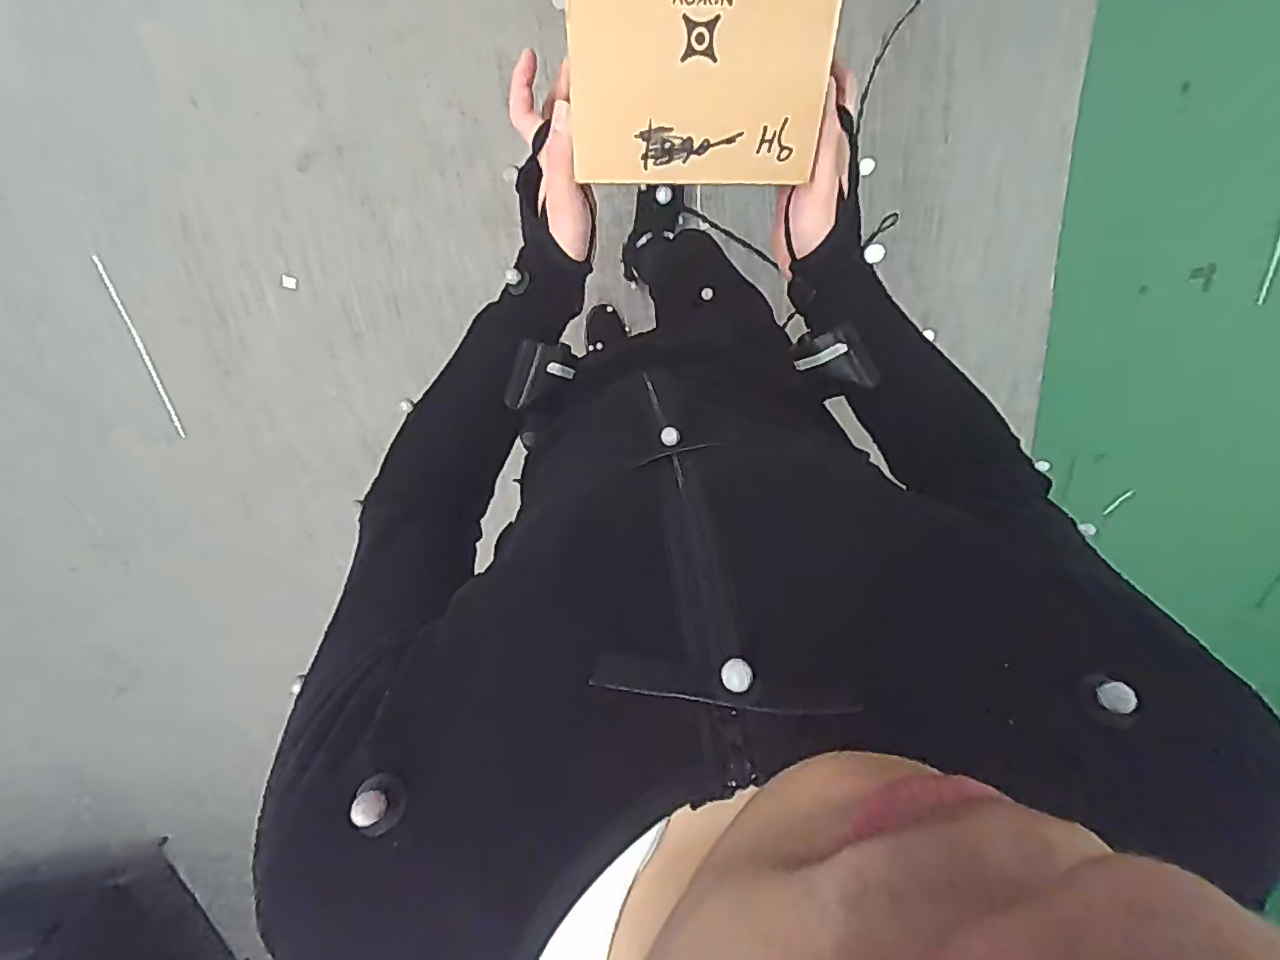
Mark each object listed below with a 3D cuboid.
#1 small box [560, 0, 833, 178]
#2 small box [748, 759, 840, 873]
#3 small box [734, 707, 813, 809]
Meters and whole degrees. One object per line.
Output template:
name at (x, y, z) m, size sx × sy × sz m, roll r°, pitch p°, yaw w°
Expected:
small box at (0.030, -0.324, 0.387) m, size 0.168 × 0.176 × 0.179 m, roll 0°, pitch 125°, yaw -1°
small box at (0.360, 0.793, 1.292) m, size 0.168 × 0.176 × 0.179 m, roll -2°, pitch 111°, yaw -1°
small box at (0.350, 0.740, 1.448) m, size 0.168 × 0.176 × 0.179 m, roll -4°, pitch 110°, yaw -1°
